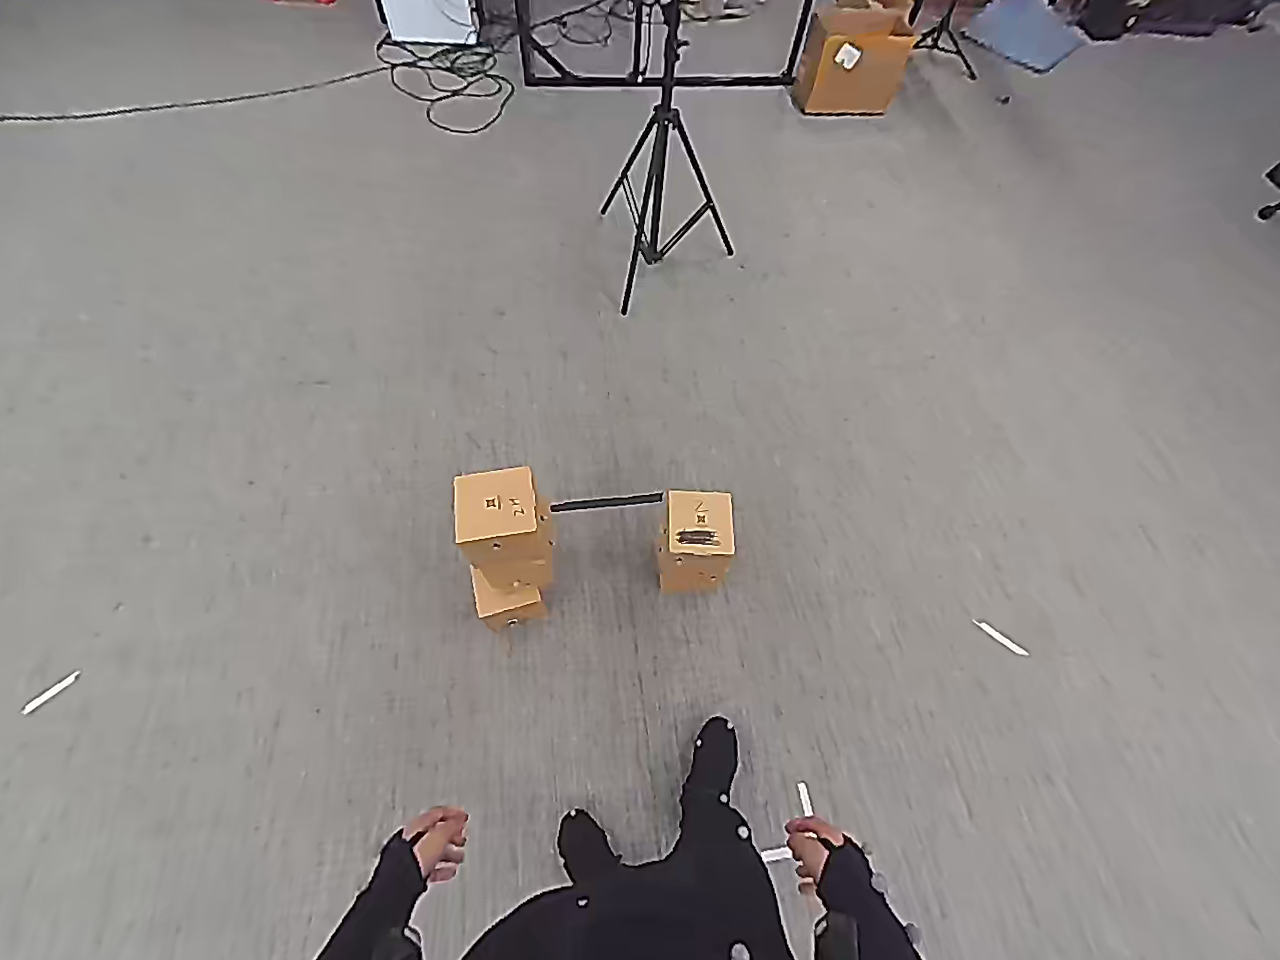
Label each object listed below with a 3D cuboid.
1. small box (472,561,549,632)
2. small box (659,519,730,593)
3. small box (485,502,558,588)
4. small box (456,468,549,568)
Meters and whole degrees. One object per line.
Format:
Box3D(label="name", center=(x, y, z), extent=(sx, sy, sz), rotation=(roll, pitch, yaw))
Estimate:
Box3D(label="small box", center=(-0.358, 0.303, 1.505), extent=(0.168, 0.176, 0.179), rotation=(-14, 64, -9))
Box3D(label="small box", center=(0.152, 0.225, 1.575), extent=(0.179, 0.176, 0.168), rotation=(-3, 62, -6))
Box3D(label="small box", center=(-0.305, 0.170, 1.394), extent=(0.168, 0.176, 0.179), rotation=(-2, 62, -3))
Box3D(label="small box", center=(-0.314, 0.092, 1.249), extent=(0.179, 0.176, 0.168), rotation=(-8, 62, -6))
